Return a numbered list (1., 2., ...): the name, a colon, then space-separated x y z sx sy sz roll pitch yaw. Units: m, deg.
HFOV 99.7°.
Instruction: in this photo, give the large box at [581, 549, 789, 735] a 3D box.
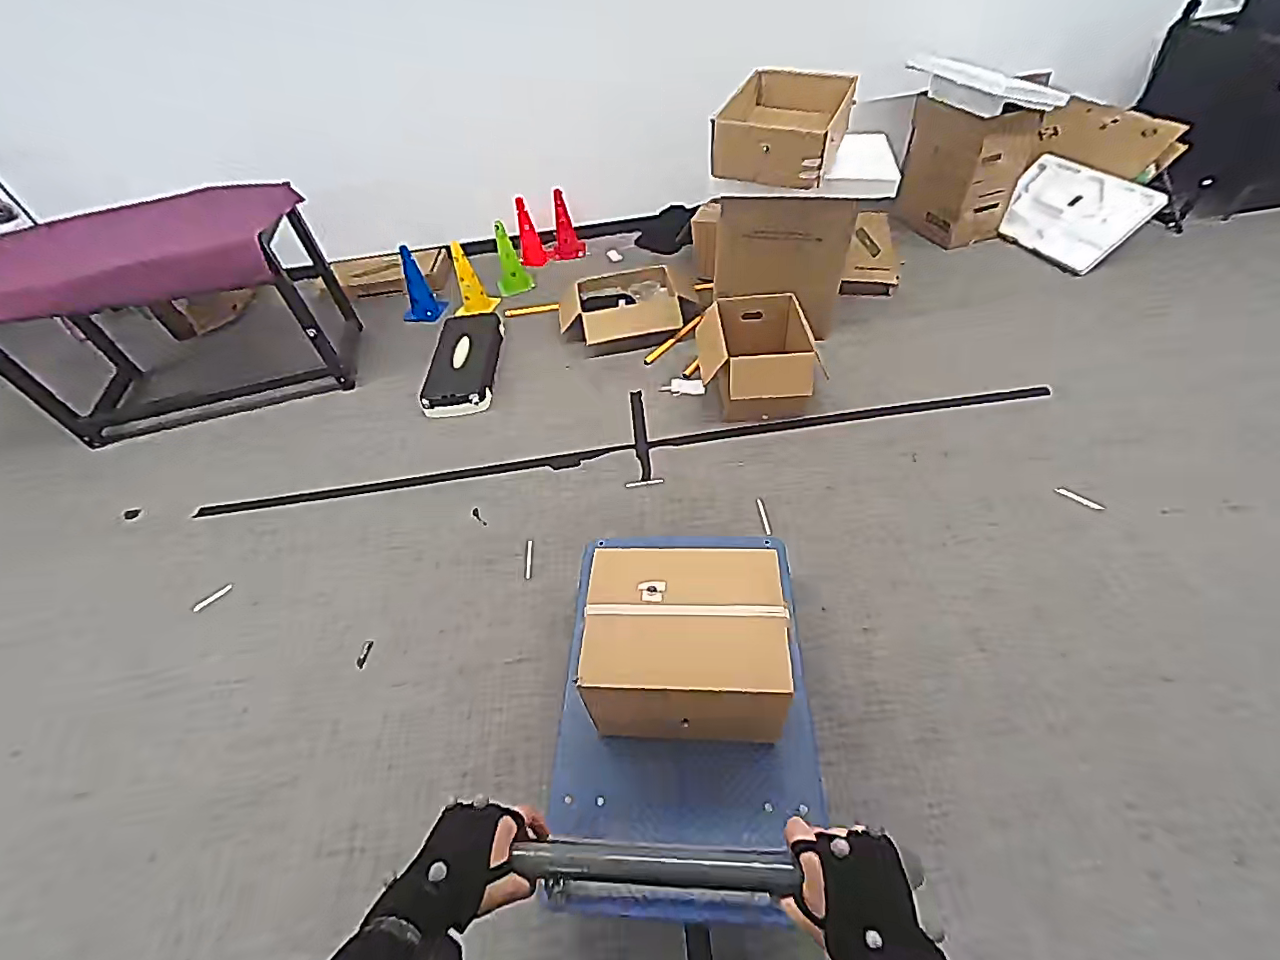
1. large box: 0.106 0.375 1.231 0.408 0.320 0.320 -2 48 7
